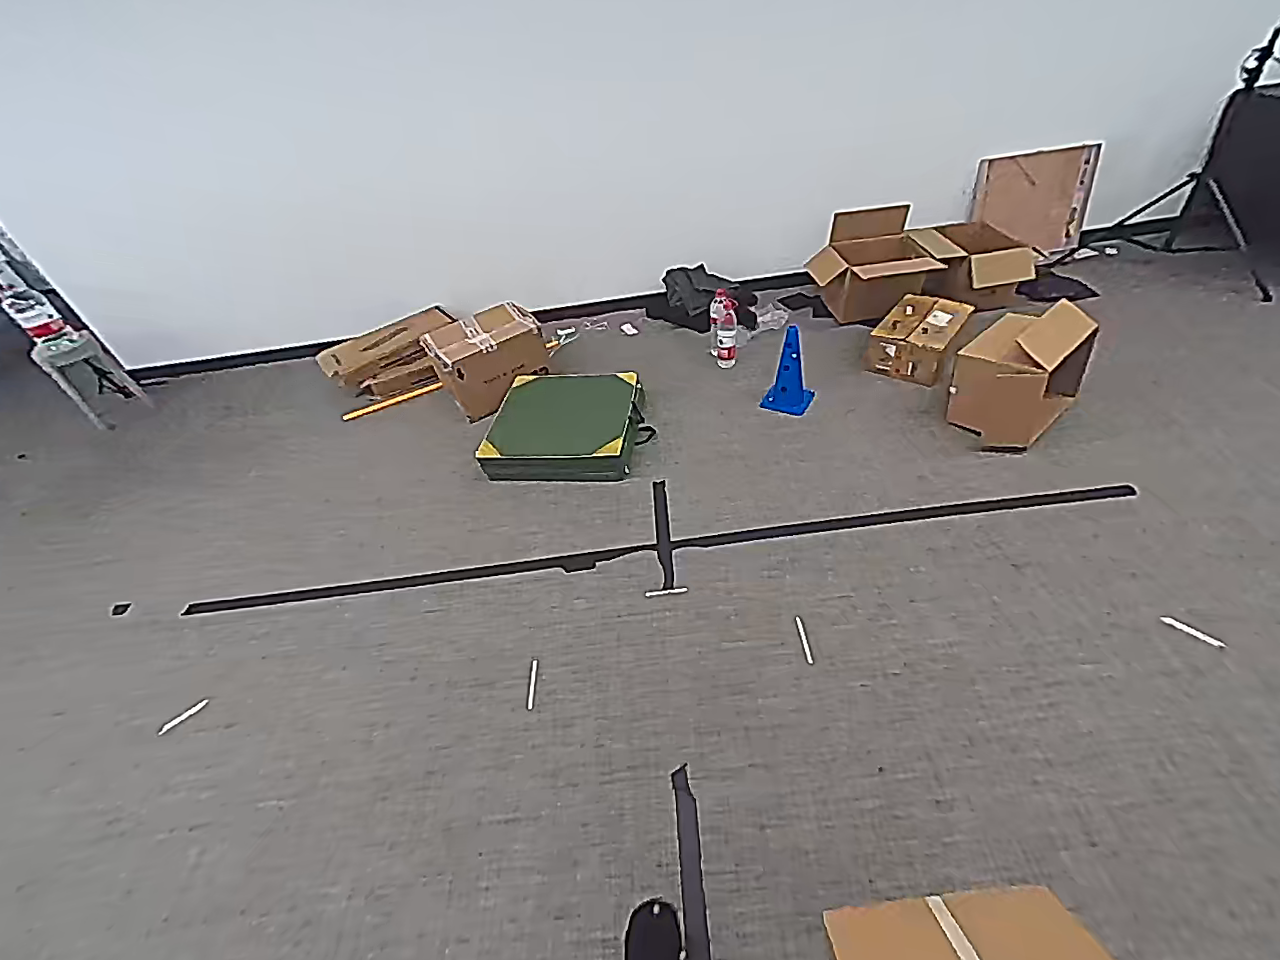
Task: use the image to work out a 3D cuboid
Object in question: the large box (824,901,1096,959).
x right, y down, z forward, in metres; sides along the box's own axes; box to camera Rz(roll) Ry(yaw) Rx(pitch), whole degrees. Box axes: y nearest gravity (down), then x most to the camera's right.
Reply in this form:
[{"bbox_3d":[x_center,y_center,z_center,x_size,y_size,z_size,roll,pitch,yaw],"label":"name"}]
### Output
[{"bbox_3d":[0.421,0.753,0.557,0.320,0.320,0.408,-9,2,2],"label":"large box"}]
